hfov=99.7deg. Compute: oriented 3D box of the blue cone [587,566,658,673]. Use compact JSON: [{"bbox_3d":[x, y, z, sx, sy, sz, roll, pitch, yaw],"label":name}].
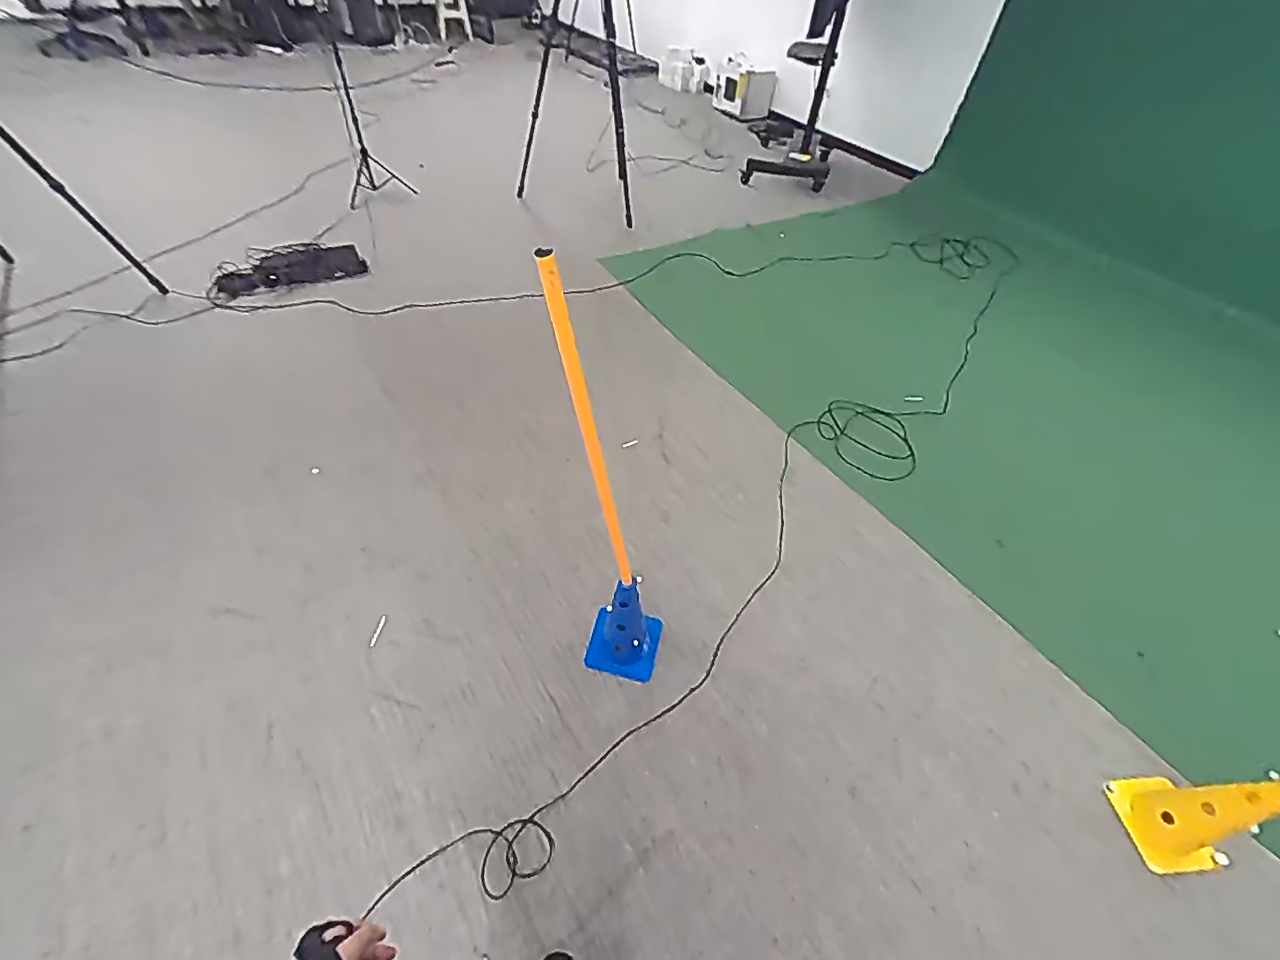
[{"bbox_3d":[-0.044,0.352,1.446,0.193,0.380,0.192,10,50,6],"label":"blue cone"}]
